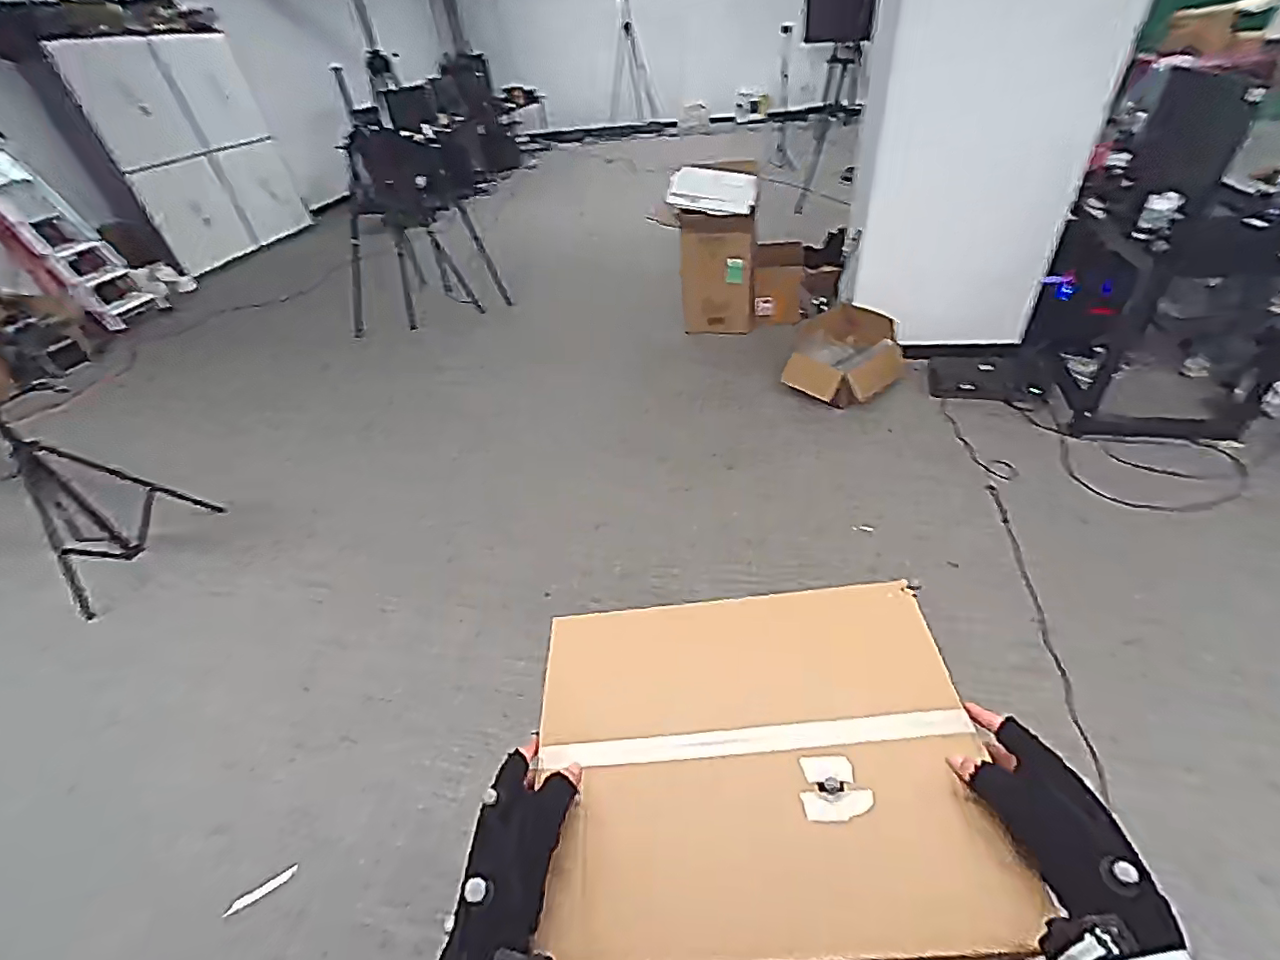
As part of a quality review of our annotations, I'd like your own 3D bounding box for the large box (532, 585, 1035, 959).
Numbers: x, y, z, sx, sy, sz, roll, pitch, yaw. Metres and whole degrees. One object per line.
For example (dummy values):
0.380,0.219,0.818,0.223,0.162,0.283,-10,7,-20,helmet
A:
0.120,0.360,0.630,0.408,0.320,0.320,-8,45,4,large box
